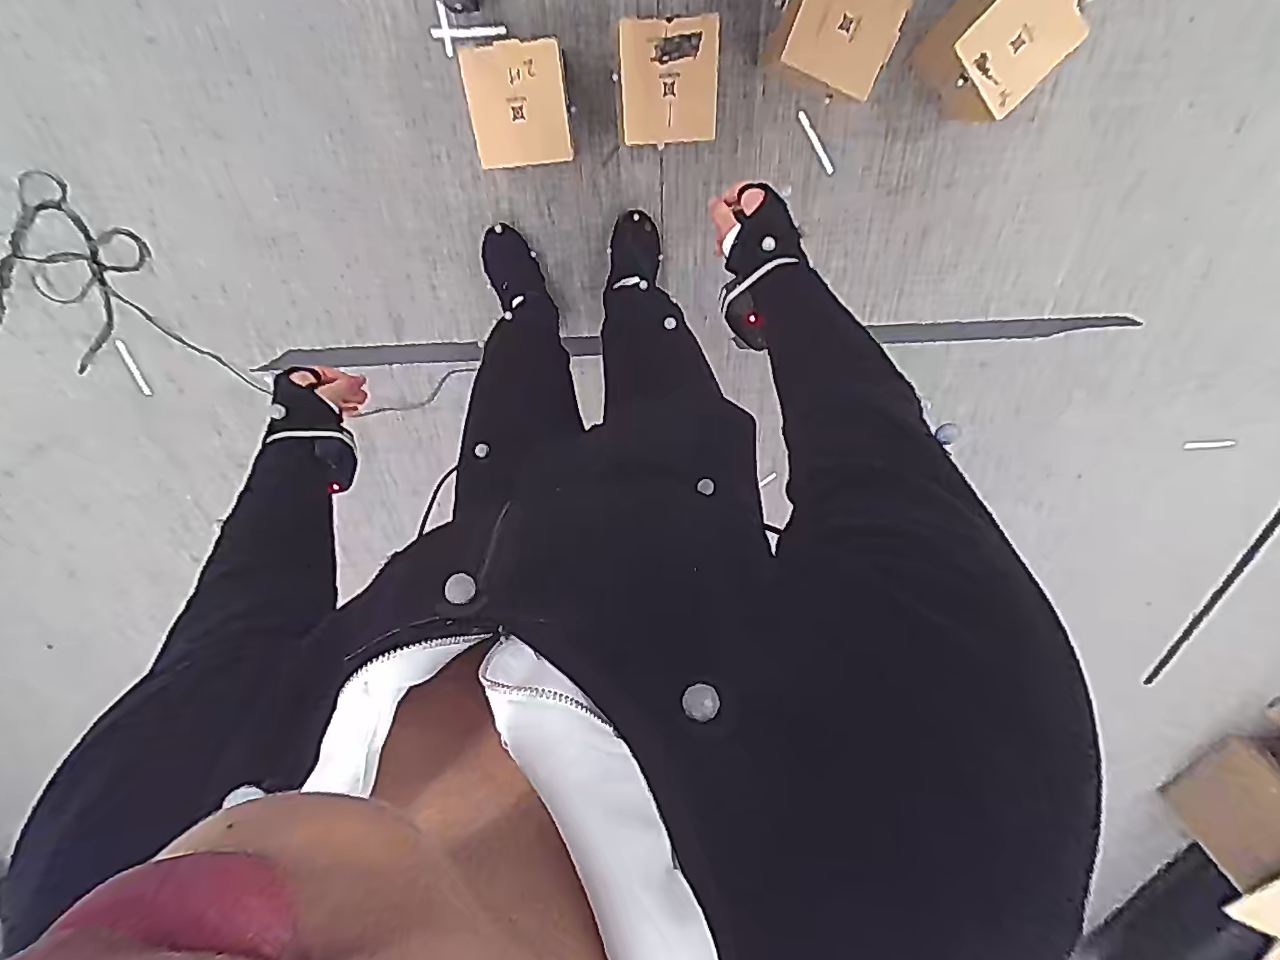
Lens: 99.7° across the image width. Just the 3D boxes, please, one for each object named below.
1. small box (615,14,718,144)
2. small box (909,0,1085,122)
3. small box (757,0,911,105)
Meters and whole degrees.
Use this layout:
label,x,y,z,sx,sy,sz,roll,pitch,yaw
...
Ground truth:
label,x,y,z,sx,sy,sz,roll,pitch,yaw
small box,0.042,-0.720,0.984,0.168,0.176,0.179,-4,125,-2
small box,0.636,-0.792,0.983,0.168,0.176,0.179,35,114,-24
small box,0.334,-0.794,0.960,0.179,0.176,0.168,15,121,-13
